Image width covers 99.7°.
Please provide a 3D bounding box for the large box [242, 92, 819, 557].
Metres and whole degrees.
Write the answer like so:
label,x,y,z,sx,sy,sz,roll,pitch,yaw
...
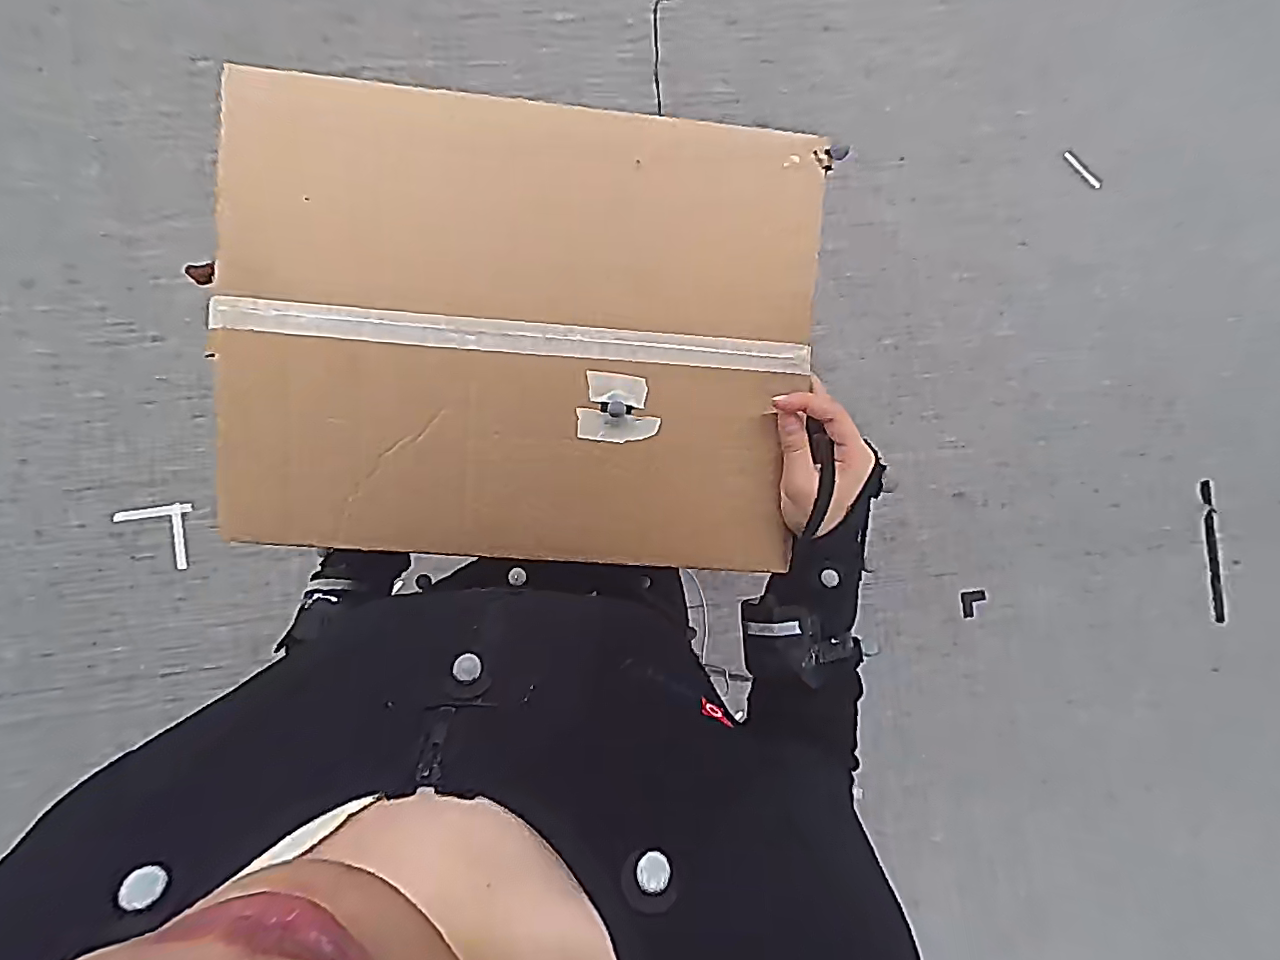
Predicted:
label,x,y,z,sx,sy,sz,roll,pitch,yaw
large box,-0.088,-0.111,0.535,0.408,0.320,0.320,3,95,-5
